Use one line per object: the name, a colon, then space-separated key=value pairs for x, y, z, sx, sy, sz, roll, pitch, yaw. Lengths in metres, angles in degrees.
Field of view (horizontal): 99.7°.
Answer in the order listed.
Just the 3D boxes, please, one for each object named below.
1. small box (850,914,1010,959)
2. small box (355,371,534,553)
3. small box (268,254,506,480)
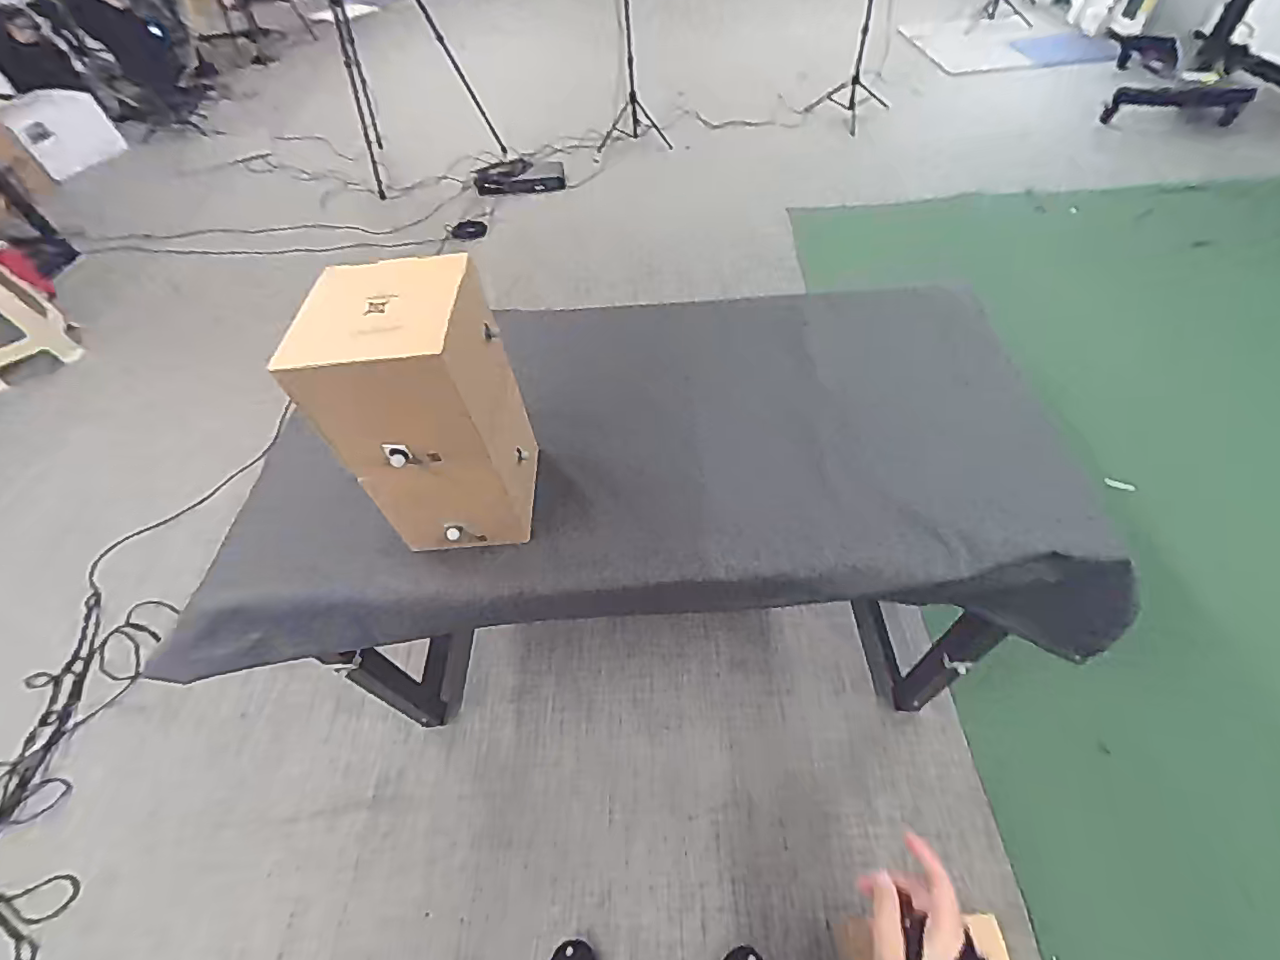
small box: x=0.431 y=0.743 z=0.787 sx=0.179 sy=0.176 sz=0.168 roll=-5 pitch=52 yaw=2
small box: x=-0.244 y=-0.022 z=0.729 sx=0.168 sy=0.176 sz=0.179 roll=-5 pitch=52 yaw=1
small box: x=-0.255 y=-0.122 z=0.601 sx=0.168 sy=0.176 sz=0.179 roll=-6 pitch=53 yaw=2
